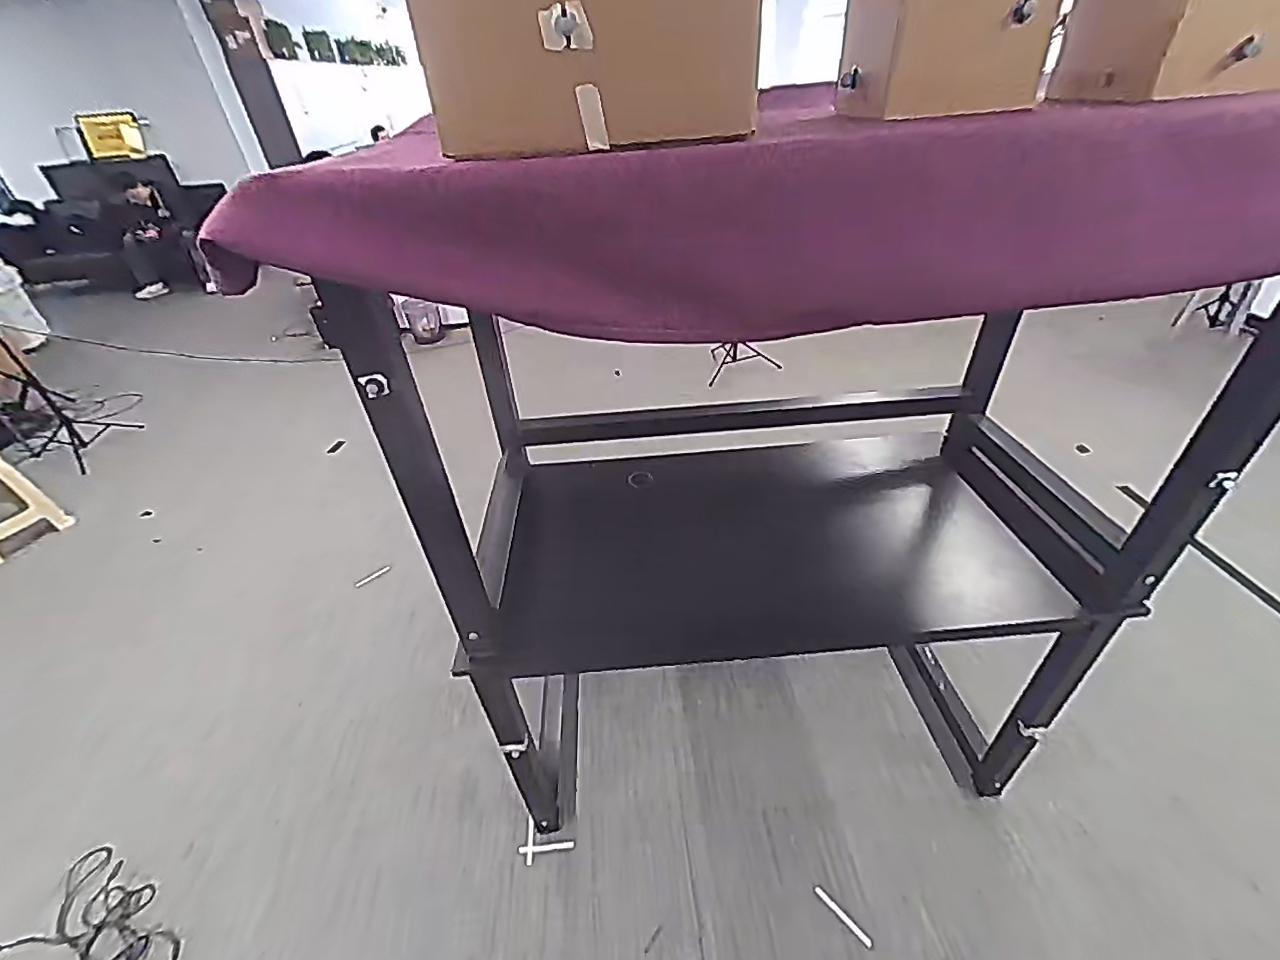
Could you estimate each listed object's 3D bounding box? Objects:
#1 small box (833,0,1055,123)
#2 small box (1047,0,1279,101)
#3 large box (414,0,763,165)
[{"bbox_3d":[0.344,-0.526,0.626,0.179,0.176,0.168,-5,36,0],"label":"small box"},{"bbox_3d":[0.611,-0.532,0.600,0.179,0.176,0.168,-6,36,-2],"label":"small box"},{"bbox_3d":[-0.063,-0.553,0.597,0.320,0.320,0.408,-5,35,-1],"label":"large box"}]
